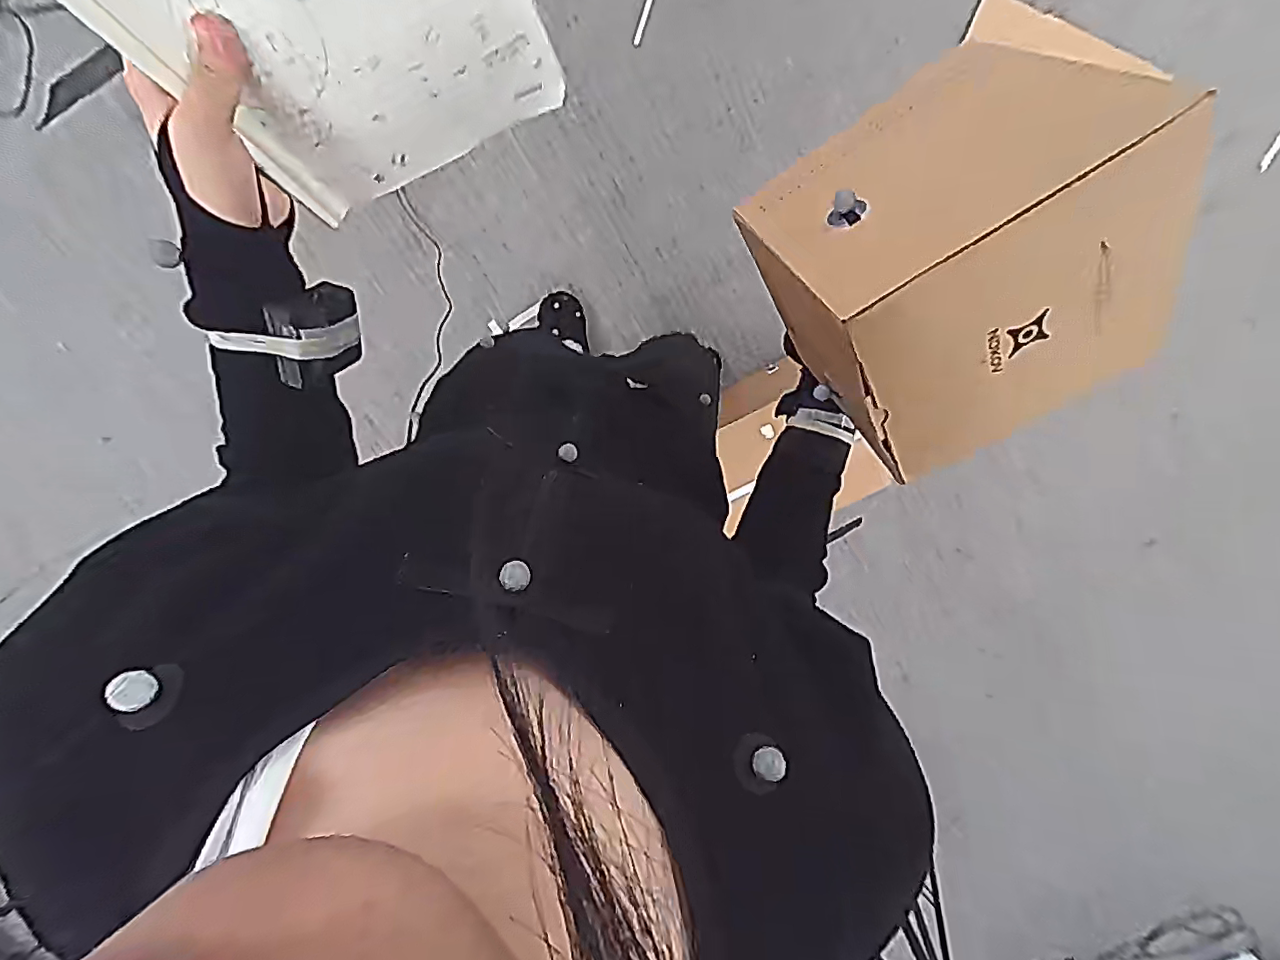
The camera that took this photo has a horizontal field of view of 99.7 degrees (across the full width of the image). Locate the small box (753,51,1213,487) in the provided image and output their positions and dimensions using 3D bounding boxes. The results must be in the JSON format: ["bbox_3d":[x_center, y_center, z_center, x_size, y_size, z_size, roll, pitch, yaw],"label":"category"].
[{"bbox_3d":[0.194,-0.134,0.358,0.179,0.176,0.168,-32,135,14],"label":"small box"}]
